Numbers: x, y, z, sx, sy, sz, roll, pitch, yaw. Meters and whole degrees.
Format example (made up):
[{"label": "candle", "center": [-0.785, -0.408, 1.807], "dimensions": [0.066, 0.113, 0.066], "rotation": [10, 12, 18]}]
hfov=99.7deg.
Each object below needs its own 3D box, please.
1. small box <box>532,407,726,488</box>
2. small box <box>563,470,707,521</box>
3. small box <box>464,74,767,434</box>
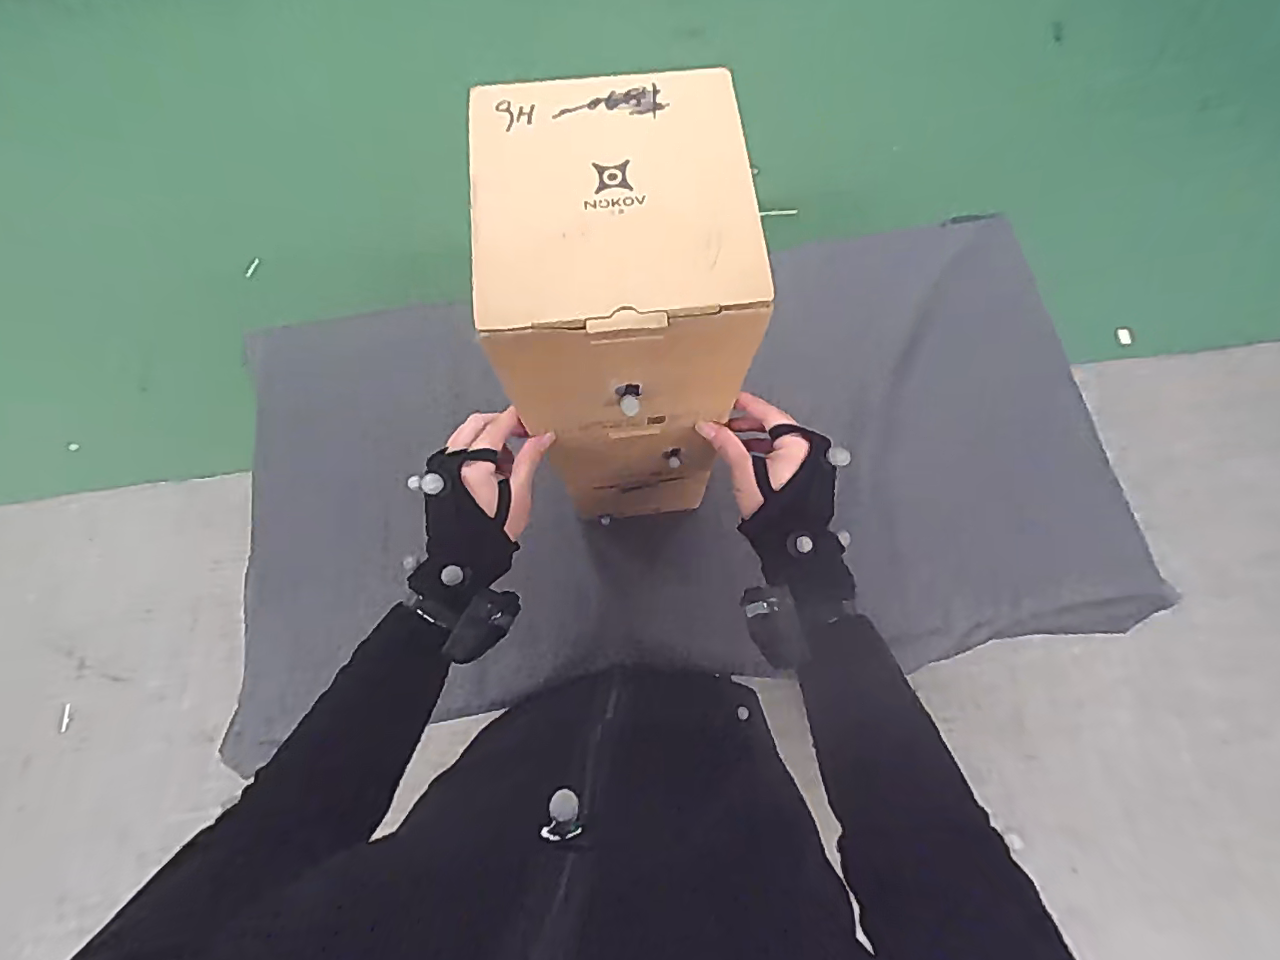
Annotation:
[{"label": "small box", "center": [-0.015, -0.096, 0.547], "dimensions": [0.168, 0.176, 0.179], "rotation": [-7, 72, -2]}, {"label": "small box", "center": [-0.010, -0.049, 0.701], "dimensions": [0.168, 0.176, 0.179], "rotation": [-8, 73, 0]}, {"label": "small box", "center": [-0.019, -0.140, 0.388], "dimensions": [0.168, 0.176, 0.179], "rotation": [-6, 75, -2]}]
